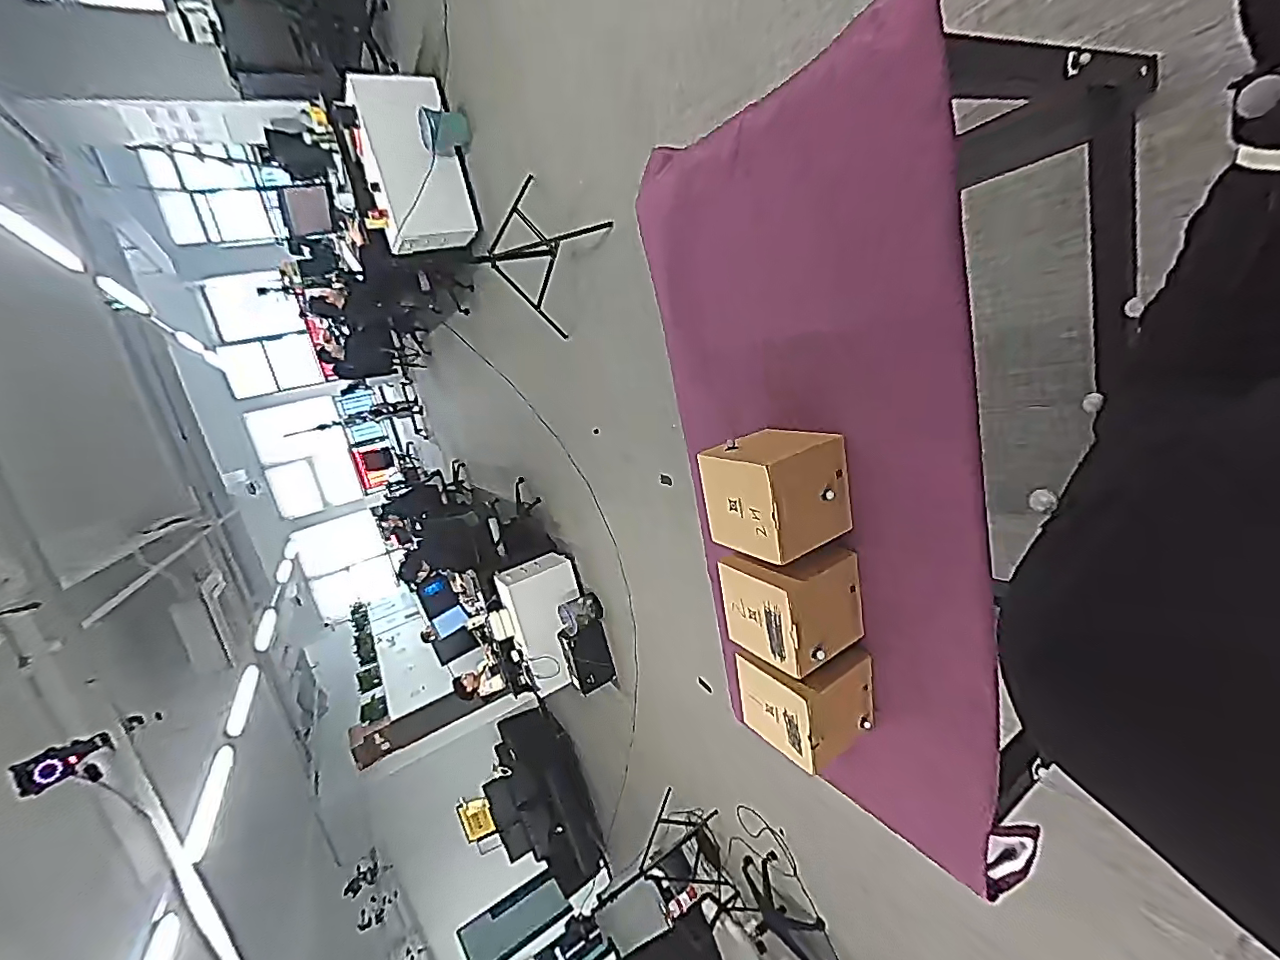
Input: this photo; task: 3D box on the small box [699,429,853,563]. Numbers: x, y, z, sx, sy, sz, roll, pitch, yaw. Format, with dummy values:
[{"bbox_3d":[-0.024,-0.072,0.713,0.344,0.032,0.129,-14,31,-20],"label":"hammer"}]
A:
[{"bbox_3d":[0.228,0.016,0.912,0.179,0.176,0.168,15,121,59],"label":"small box"}]
